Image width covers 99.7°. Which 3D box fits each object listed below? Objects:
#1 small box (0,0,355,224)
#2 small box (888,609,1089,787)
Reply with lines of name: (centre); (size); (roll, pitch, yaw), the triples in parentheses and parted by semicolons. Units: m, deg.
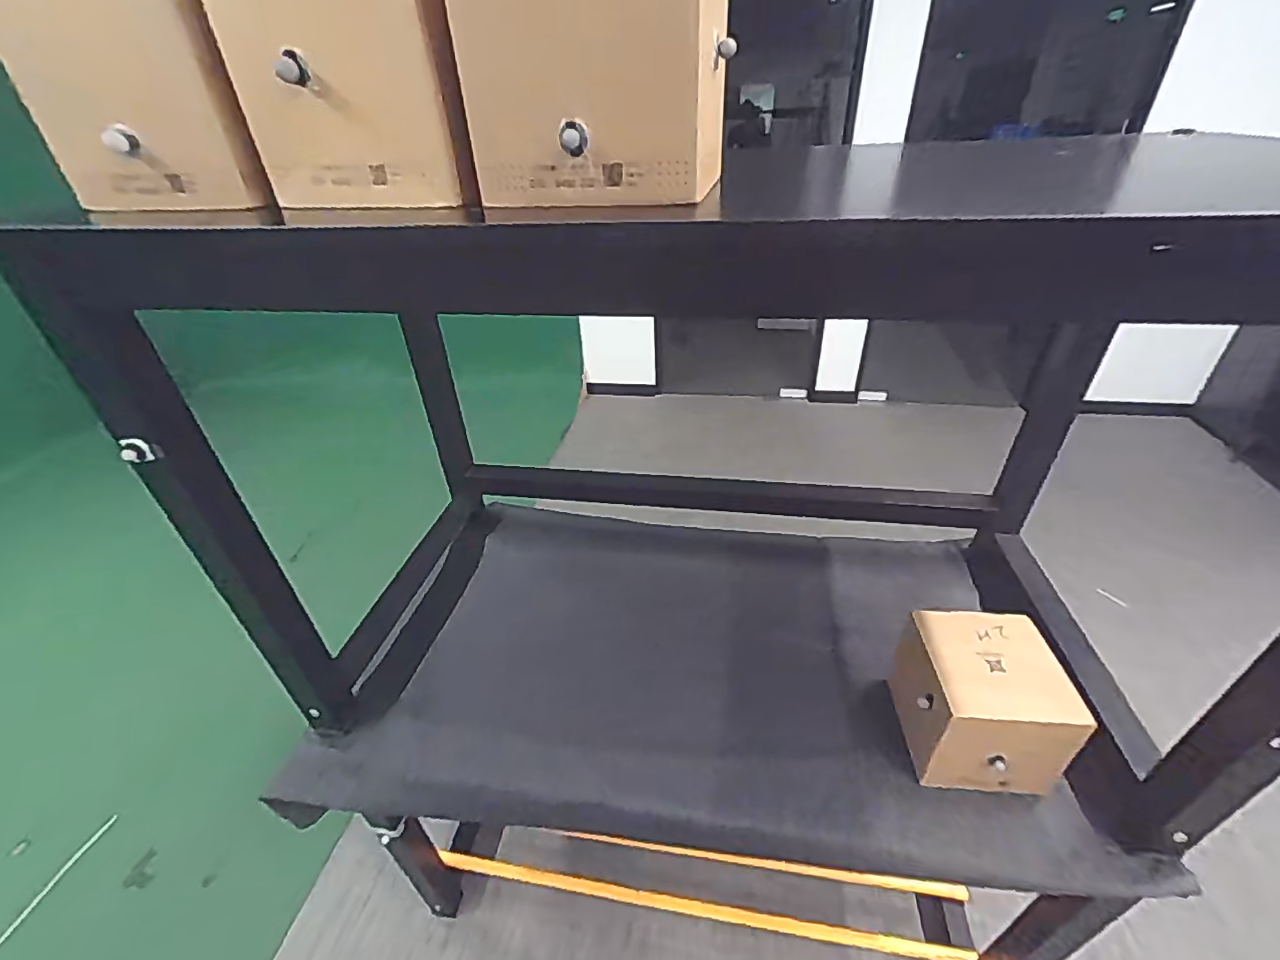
small box: (-0.389, -0.338, 0.485); (0.168, 0.176, 0.179); (3, 36, 8)
small box: (0.474, 0.309, 0.771); (0.168, 0.176, 0.179); (1, 34, 6)
